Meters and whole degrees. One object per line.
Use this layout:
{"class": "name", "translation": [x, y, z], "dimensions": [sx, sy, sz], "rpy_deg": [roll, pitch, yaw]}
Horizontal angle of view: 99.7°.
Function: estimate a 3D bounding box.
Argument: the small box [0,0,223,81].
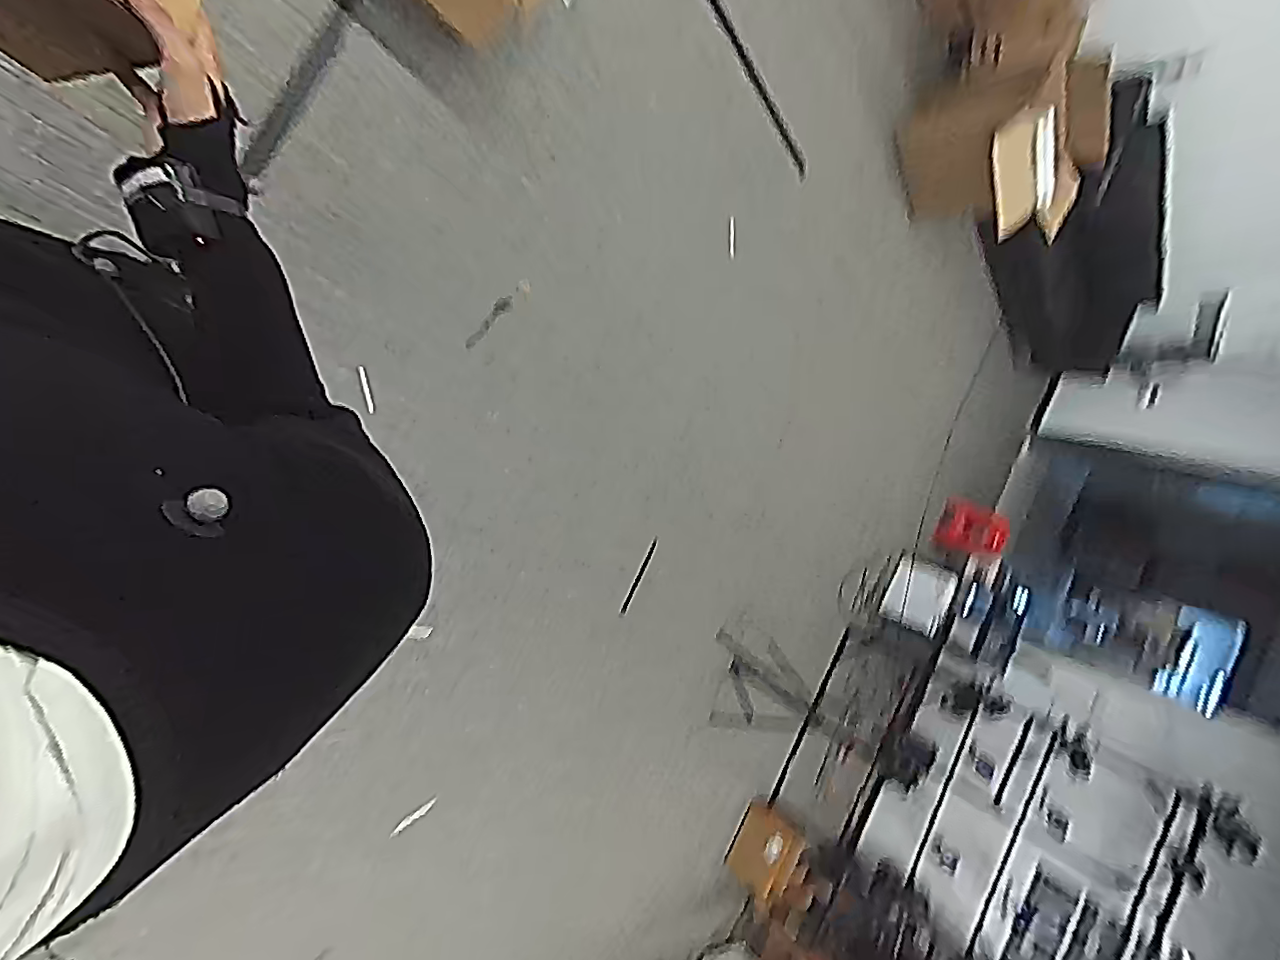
{"class": "small box", "translation": [-0.452, -0.444, 0.402], "dimensions": [0.168, 0.176, 0.179], "rpy_deg": [26, 69, -76]}
